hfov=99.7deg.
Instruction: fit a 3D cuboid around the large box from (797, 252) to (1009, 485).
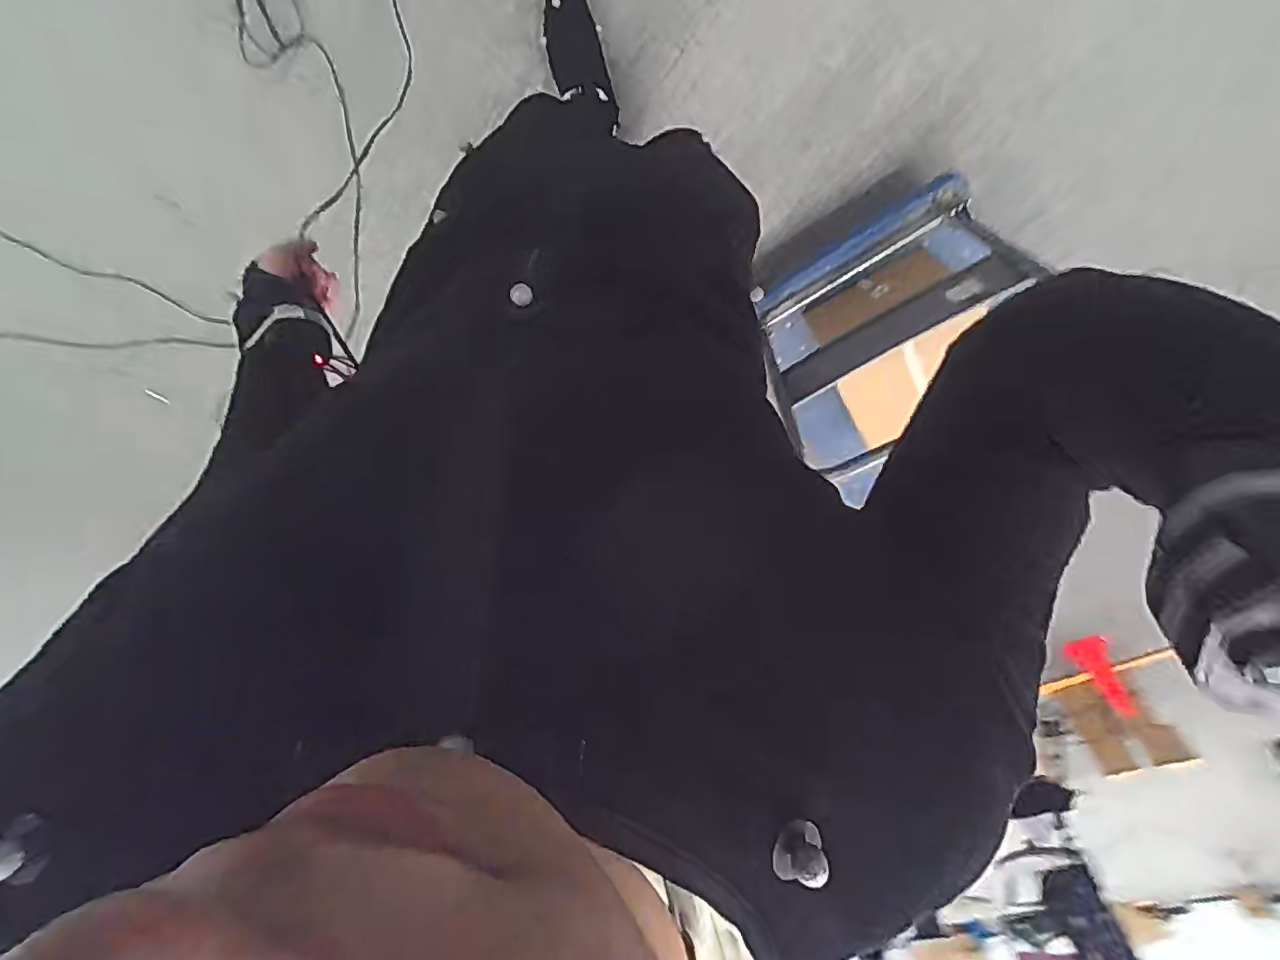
[{"bbox_3d":[0.640,-0.268,1.342,0.320,0.320,0.408,-26,128,22],"label":"large box"}]
